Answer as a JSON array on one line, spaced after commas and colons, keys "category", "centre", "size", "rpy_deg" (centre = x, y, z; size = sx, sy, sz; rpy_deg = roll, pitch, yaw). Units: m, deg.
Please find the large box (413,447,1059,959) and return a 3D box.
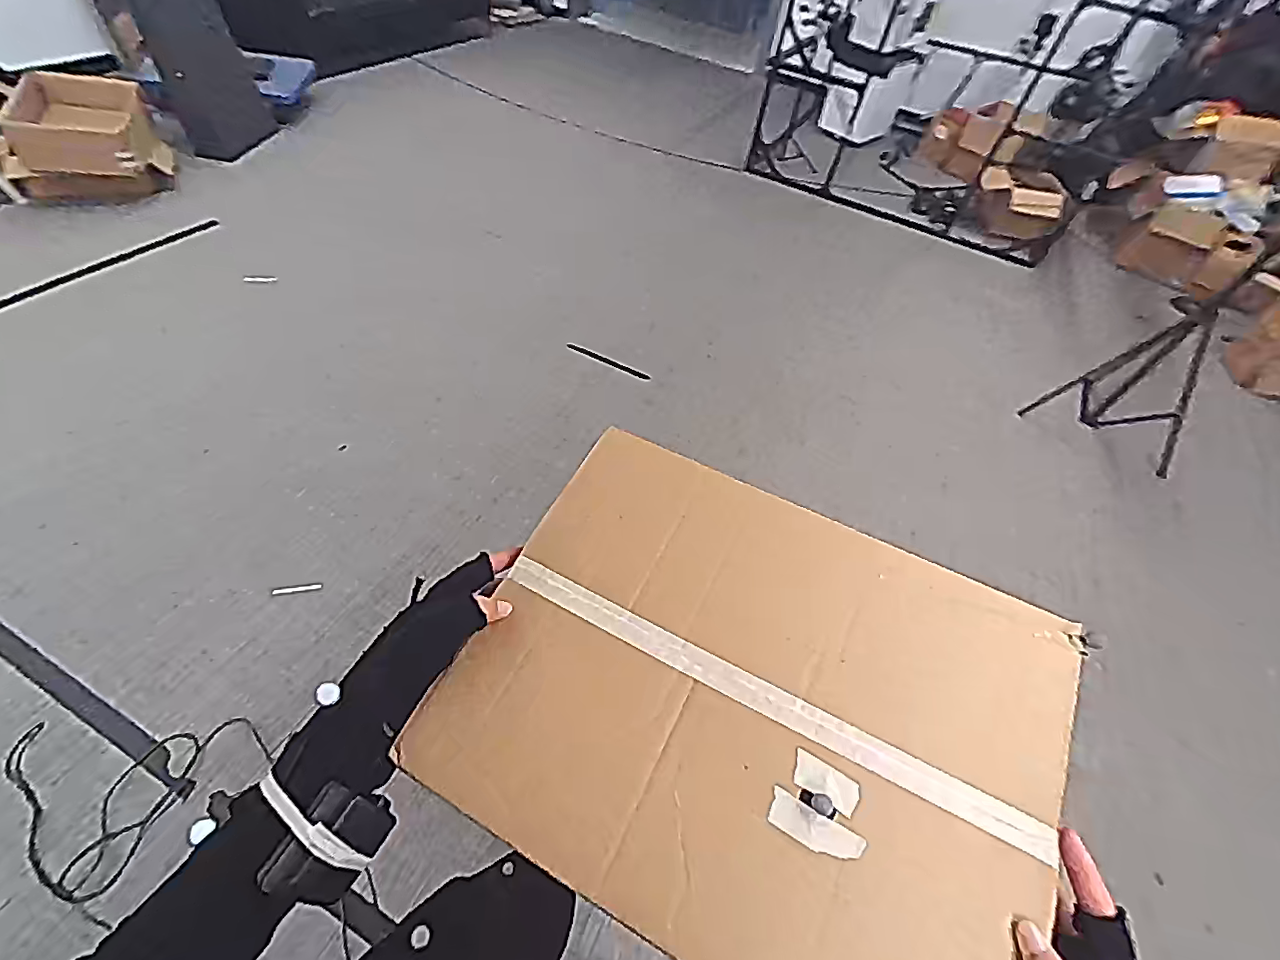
[{"category": "large box", "centre": [0.082, 0.233, 0.528], "size": [0.408, 0.320, 0.320], "rpy_deg": [24, 64, 15]}]
